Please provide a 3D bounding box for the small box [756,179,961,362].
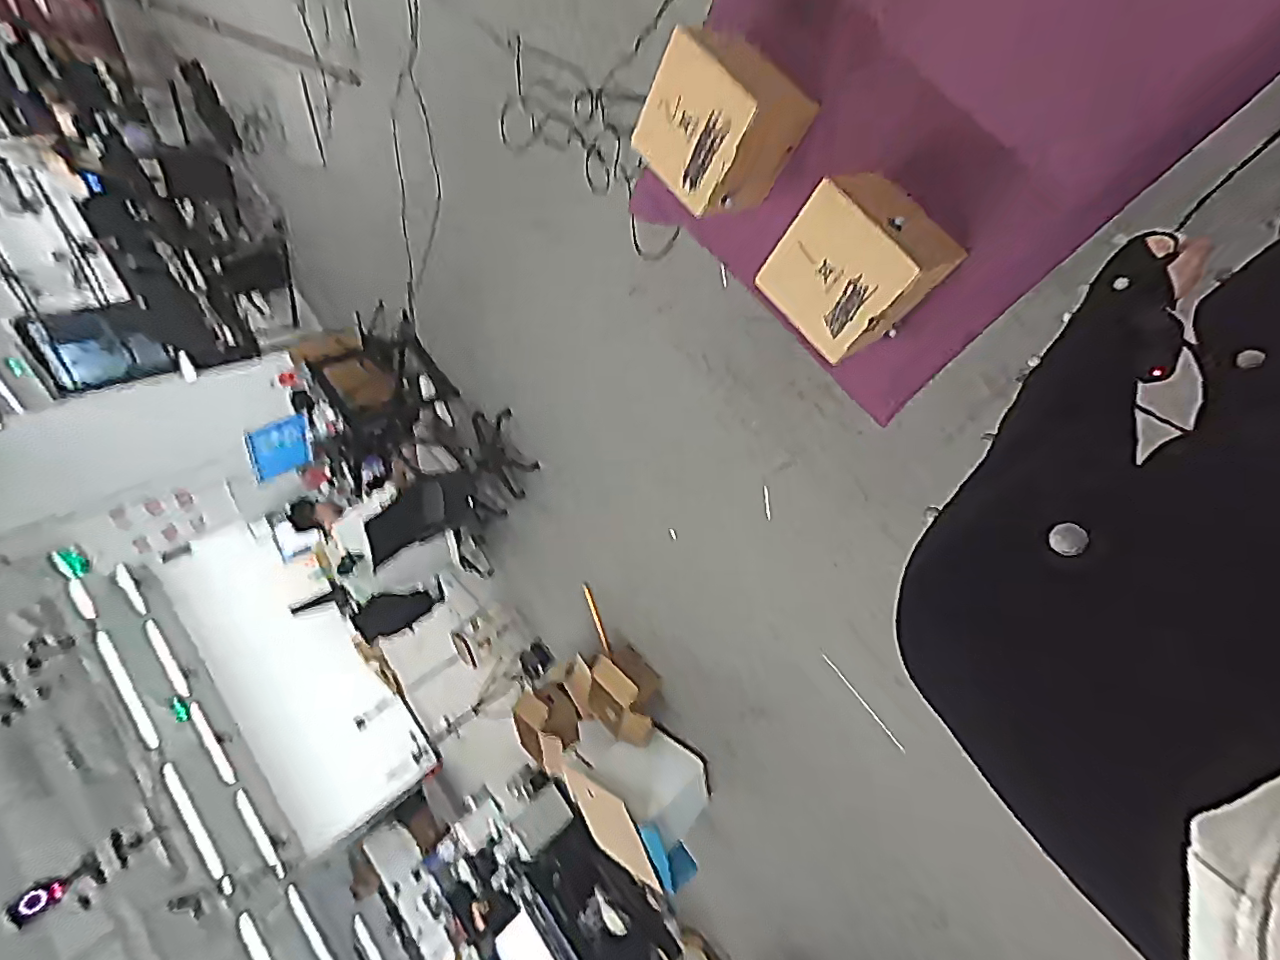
[{"bbox_3d":[0.309,-0.303,0.766,0.179,0.176,0.168,52,141,12],"label":"small box"}]
